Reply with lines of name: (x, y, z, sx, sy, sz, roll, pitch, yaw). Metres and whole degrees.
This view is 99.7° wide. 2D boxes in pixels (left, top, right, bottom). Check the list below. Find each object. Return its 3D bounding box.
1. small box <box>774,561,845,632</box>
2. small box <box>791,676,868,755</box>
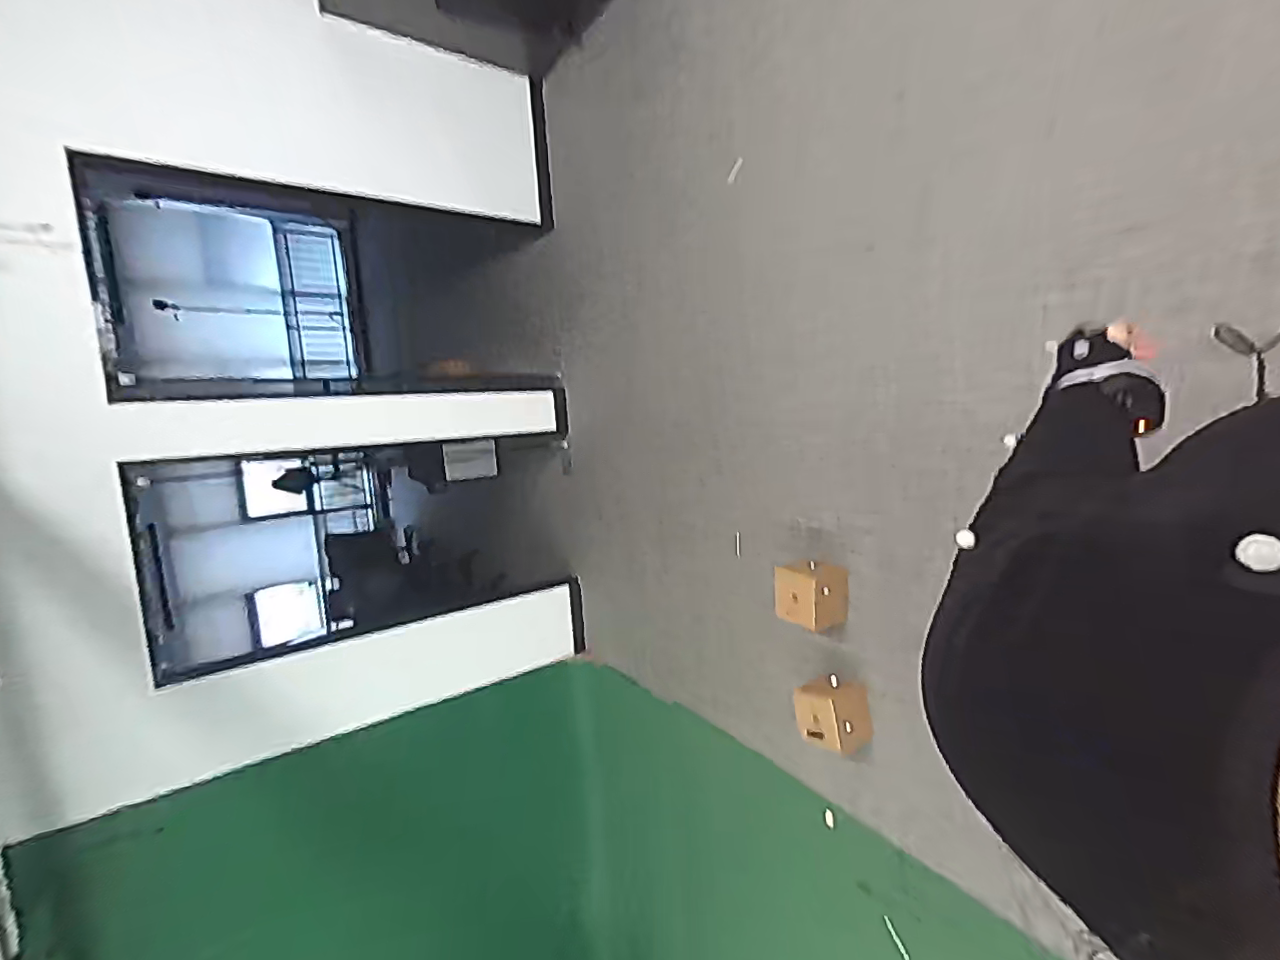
small box: (0.569, 0.381, 1.812, 0.168, 0.176, 0.179, 8, 103, 56)
small box: (0.632, 0.774, 1.794, 0.168, 0.176, 0.179, -14, 84, 56)
